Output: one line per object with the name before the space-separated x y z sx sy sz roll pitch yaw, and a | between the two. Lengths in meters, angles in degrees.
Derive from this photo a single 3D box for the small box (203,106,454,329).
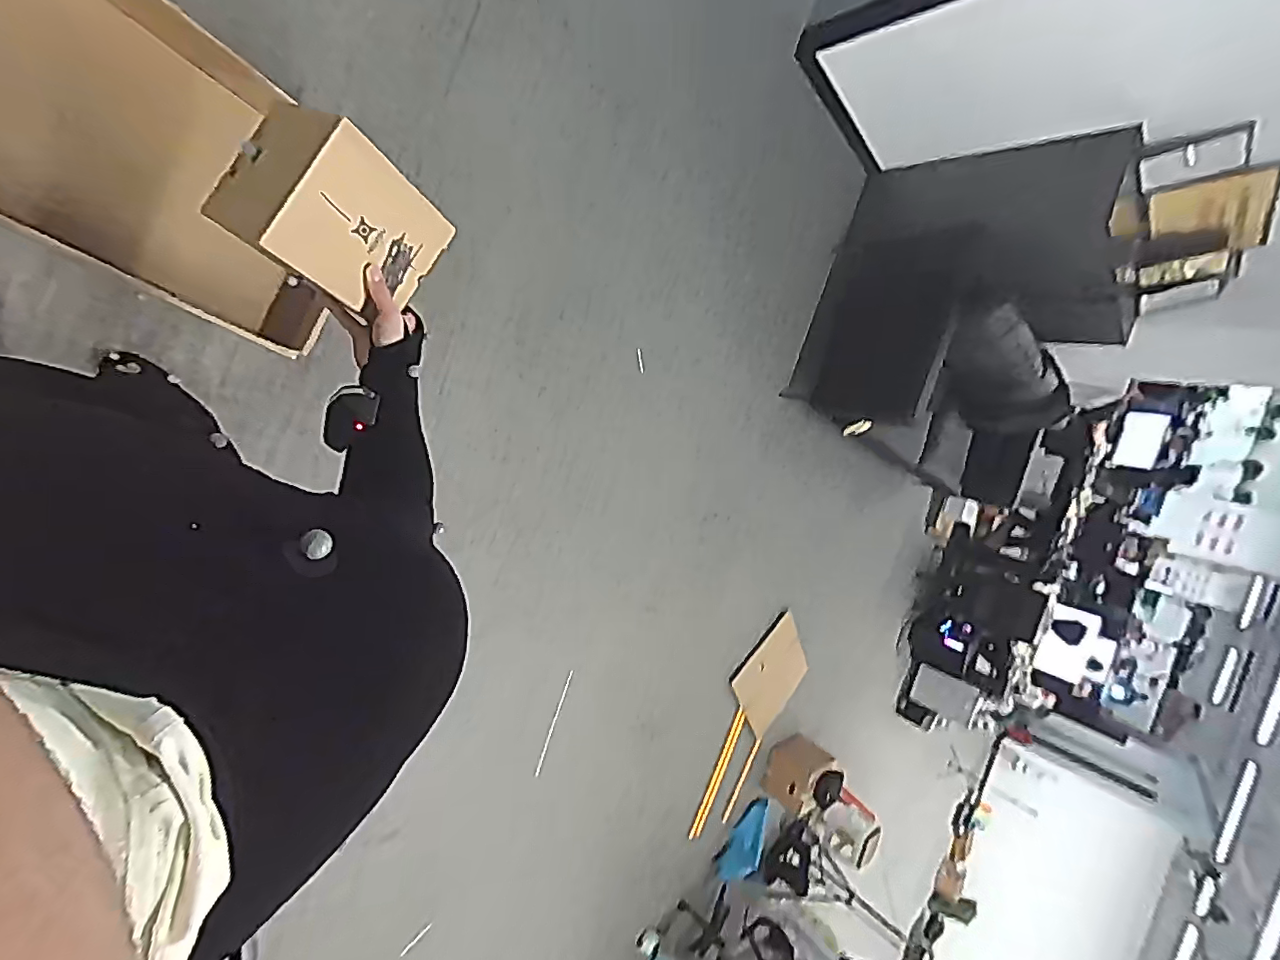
small box | -0.377 -0.322 0.667 0.168 0.176 0.179 -59 150 -3
